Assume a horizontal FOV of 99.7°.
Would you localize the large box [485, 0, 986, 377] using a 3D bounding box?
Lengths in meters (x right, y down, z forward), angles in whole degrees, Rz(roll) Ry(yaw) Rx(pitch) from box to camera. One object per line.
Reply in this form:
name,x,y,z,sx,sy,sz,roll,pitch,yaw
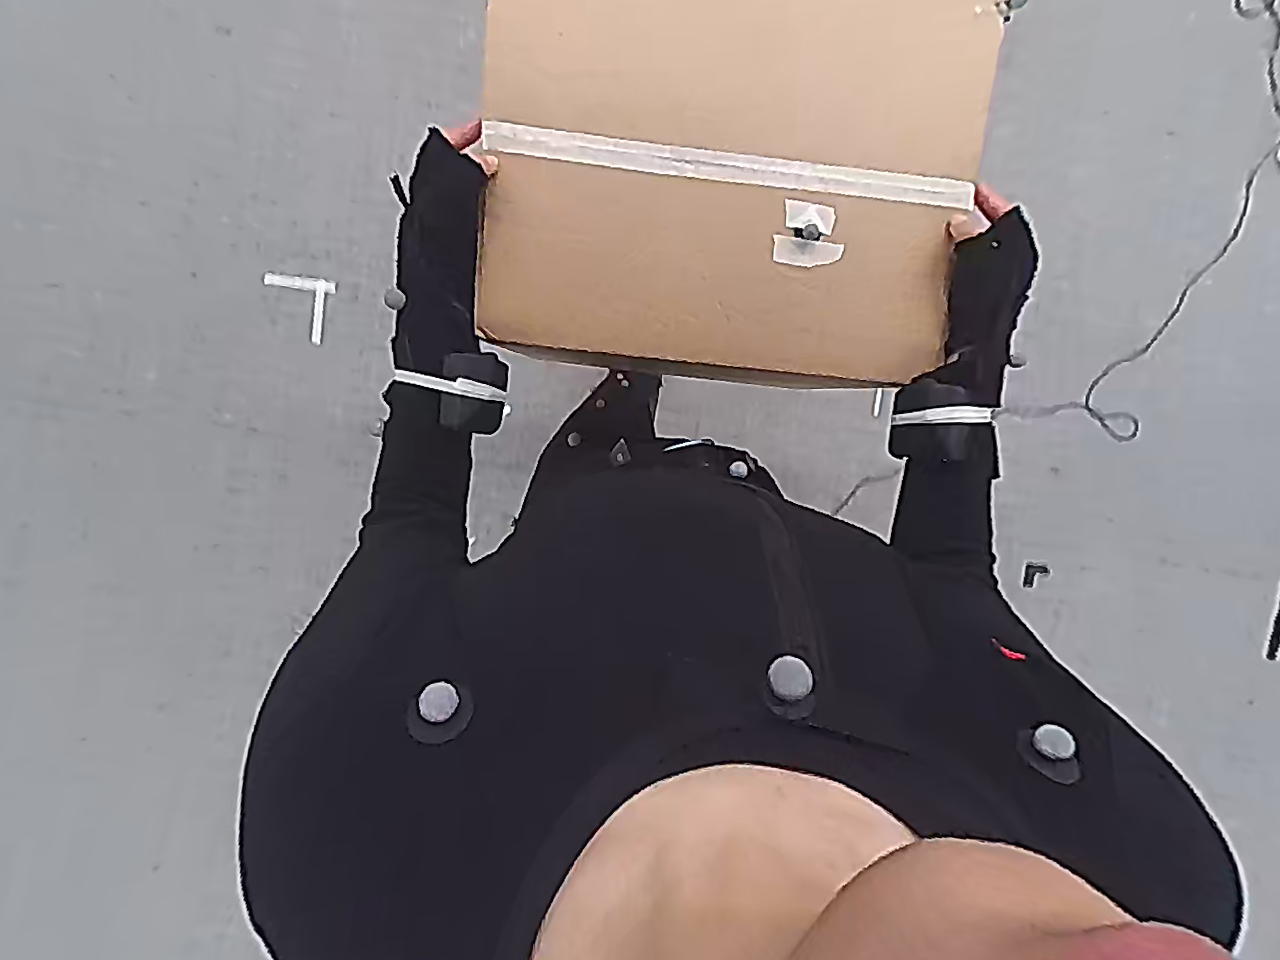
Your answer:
large box,0.064,-0.289,0.599,0.408,0.320,0.320,5,101,-5
